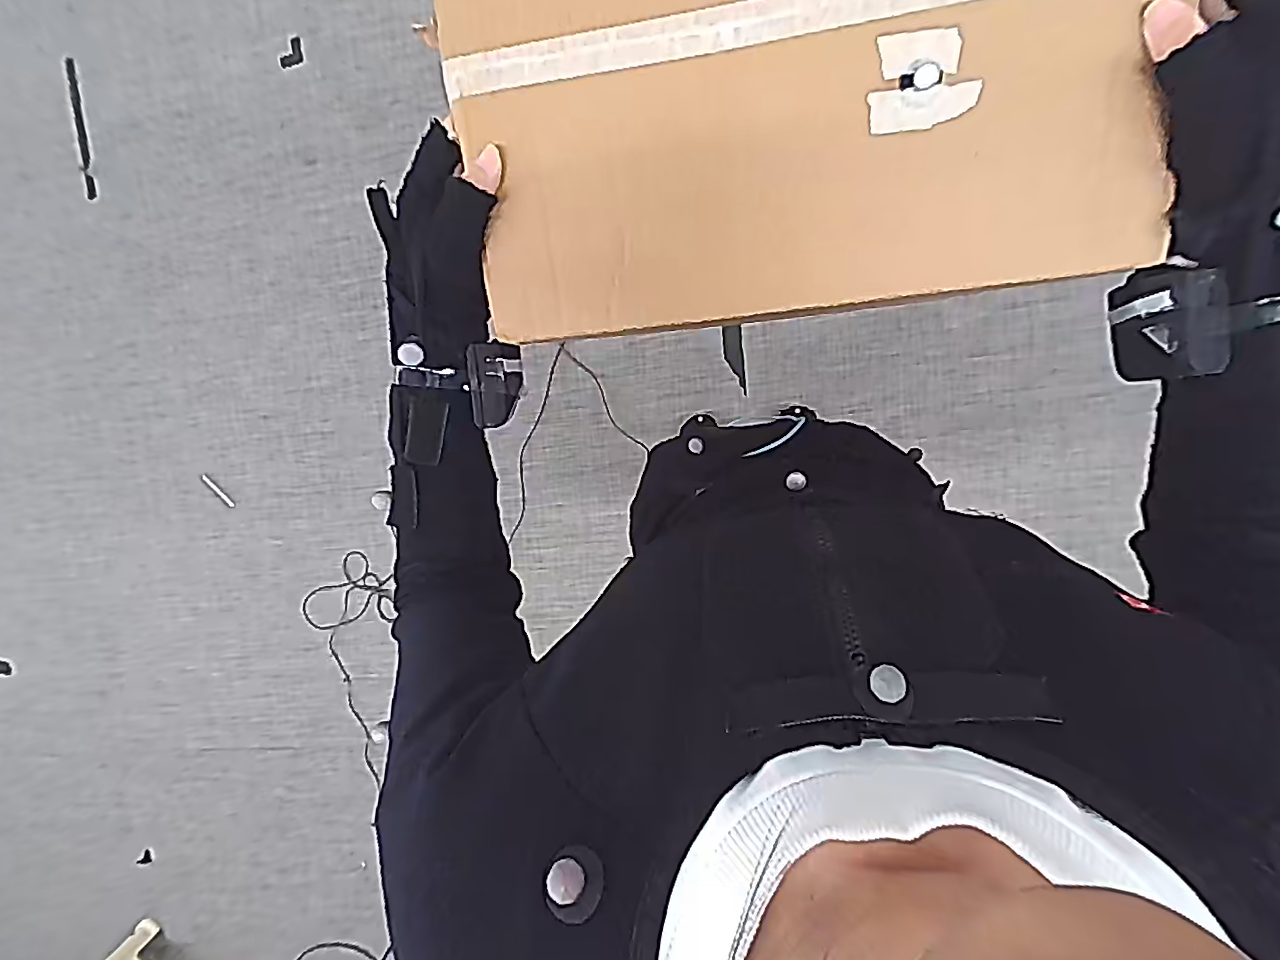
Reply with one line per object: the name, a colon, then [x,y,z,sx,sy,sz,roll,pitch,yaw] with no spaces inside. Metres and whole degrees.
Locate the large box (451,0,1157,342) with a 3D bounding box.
large box: [0.098,-0.302,0.461,0.408,0.320,0.320,-5,105,7]
